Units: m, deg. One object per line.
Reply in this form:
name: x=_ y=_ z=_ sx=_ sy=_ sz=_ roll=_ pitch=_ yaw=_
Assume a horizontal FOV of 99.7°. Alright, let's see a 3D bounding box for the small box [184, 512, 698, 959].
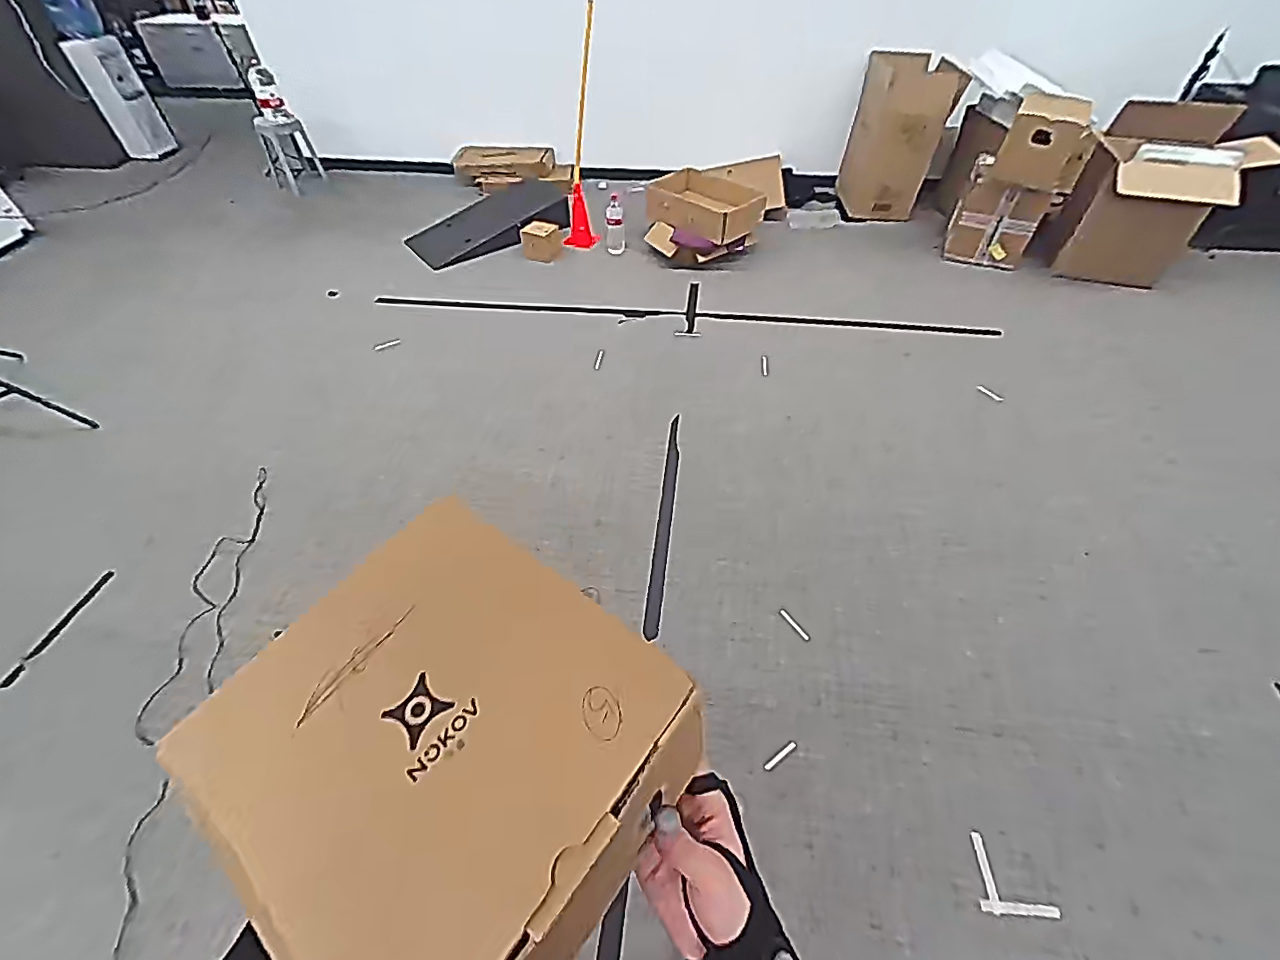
small box: x=-0.081 y=0.156 z=0.303 sx=0.179 sy=0.176 sz=0.168 roll=29 pitch=61 yaw=26
